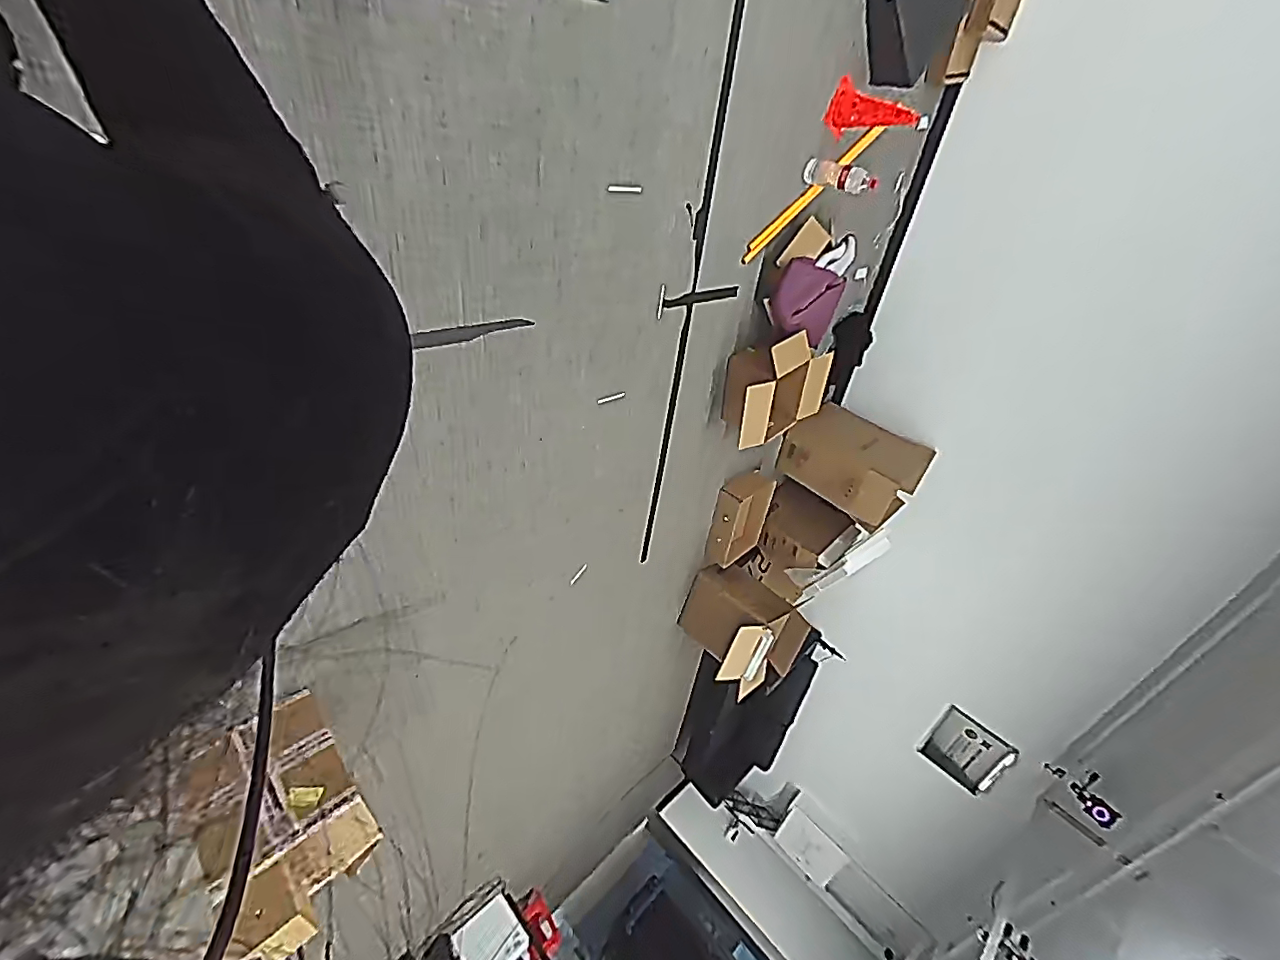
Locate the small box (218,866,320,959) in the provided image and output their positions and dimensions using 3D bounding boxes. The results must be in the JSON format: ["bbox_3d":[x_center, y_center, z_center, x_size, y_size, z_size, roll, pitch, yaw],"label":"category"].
[{"bbox_3d":[-1.028,1.229,1.493,0.179,0.176,0.168,-30,137,-33],"label":"small box"}]
